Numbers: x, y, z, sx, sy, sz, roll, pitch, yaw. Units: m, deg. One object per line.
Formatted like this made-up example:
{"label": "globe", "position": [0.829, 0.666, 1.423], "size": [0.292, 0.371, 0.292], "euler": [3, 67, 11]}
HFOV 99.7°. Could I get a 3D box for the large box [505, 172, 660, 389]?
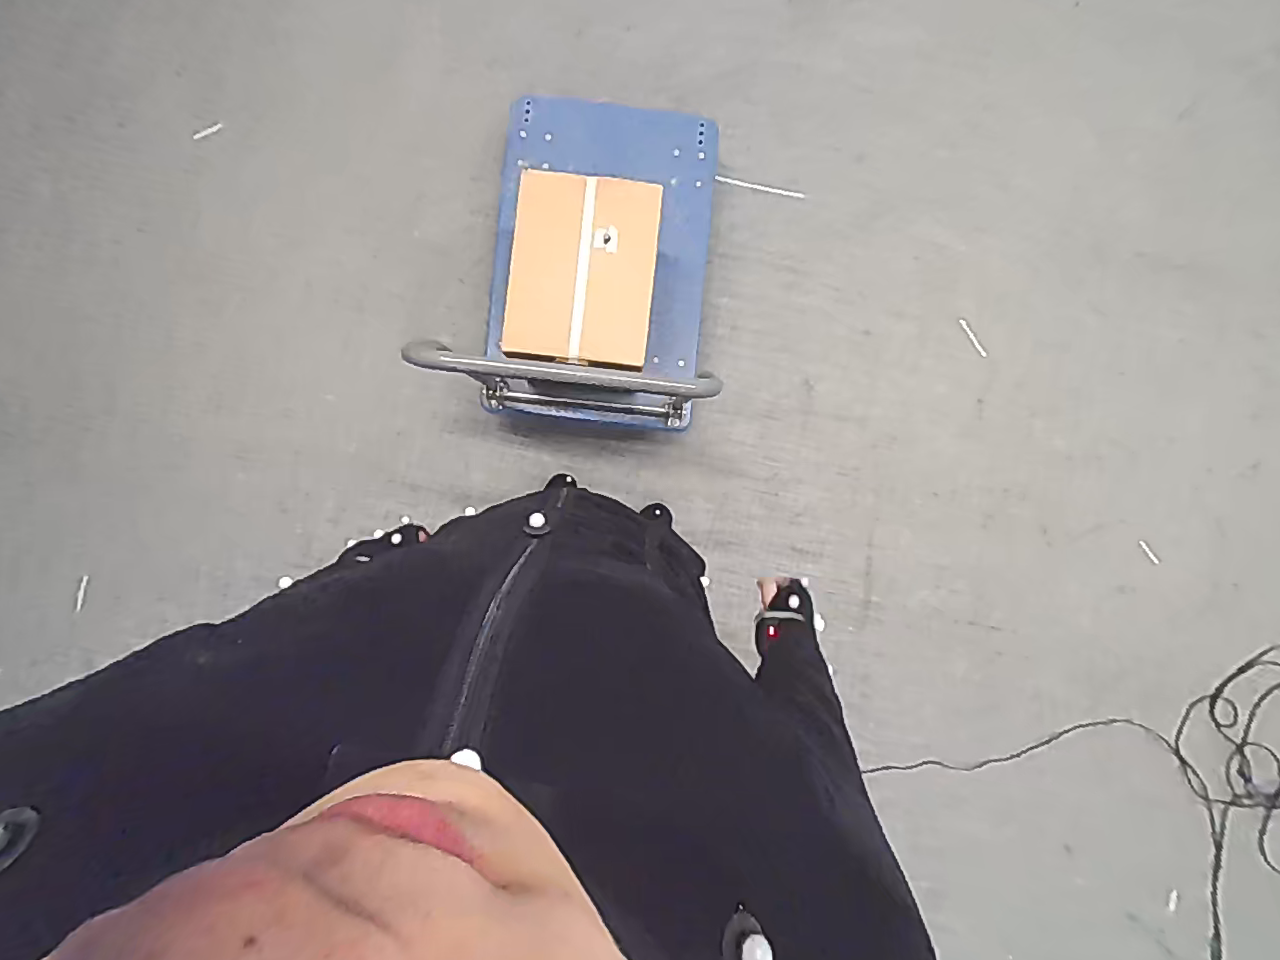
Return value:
{"label": "large box", "position": [-0.127, -0.457, 1.323], "size": [0.320, 0.320, 0.408], "euler": [6, 88, -2]}
